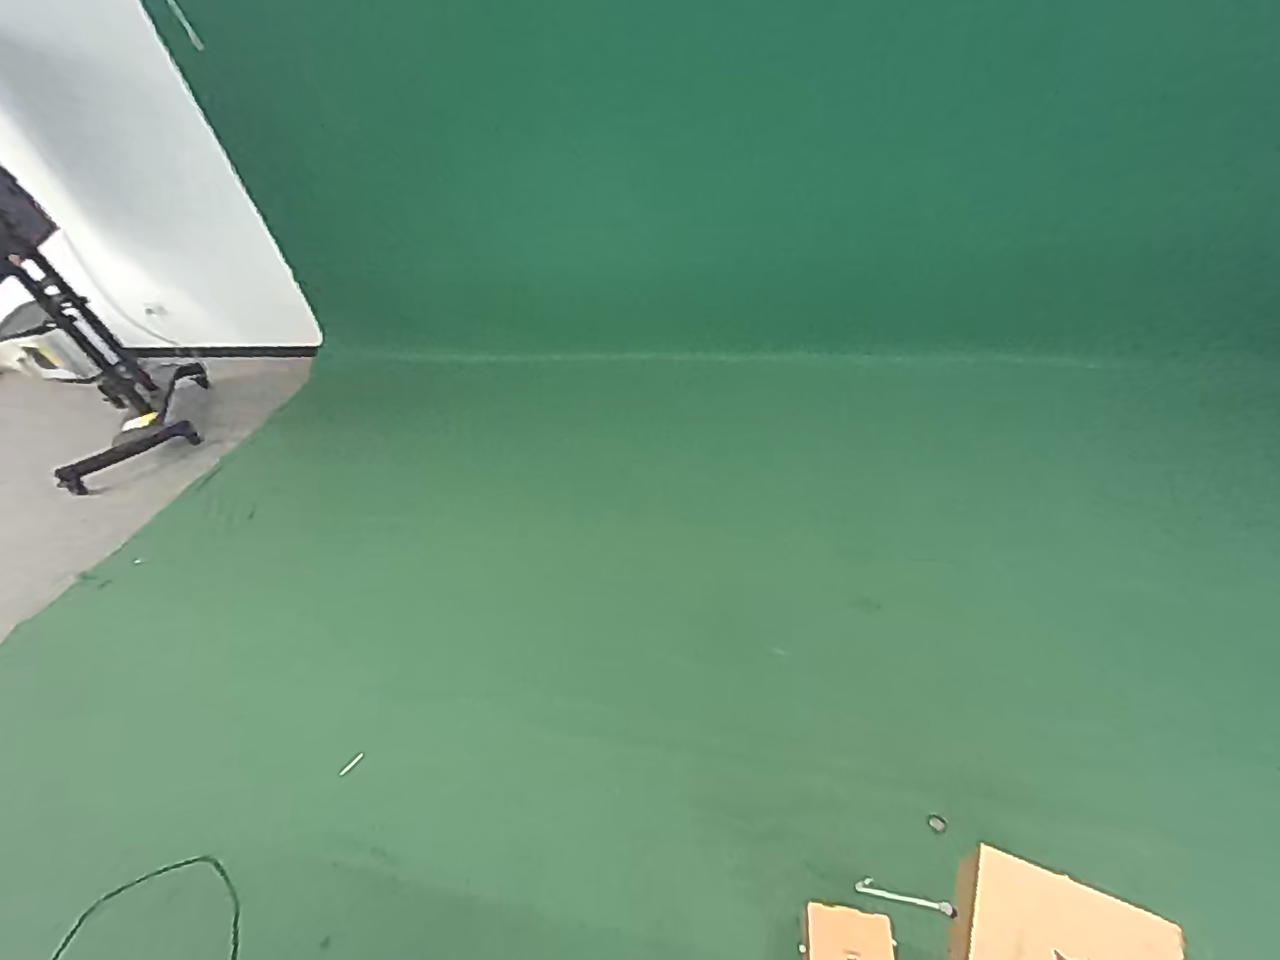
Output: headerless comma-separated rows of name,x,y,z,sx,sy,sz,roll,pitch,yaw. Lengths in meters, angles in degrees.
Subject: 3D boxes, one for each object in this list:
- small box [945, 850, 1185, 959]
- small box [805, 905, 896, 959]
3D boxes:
small box,0.460,0.557,0.607,0.179,0.176,0.168,13,54,28
small box,0.439,1.031,1.132,0.168,0.176,0.179,2,42,12
